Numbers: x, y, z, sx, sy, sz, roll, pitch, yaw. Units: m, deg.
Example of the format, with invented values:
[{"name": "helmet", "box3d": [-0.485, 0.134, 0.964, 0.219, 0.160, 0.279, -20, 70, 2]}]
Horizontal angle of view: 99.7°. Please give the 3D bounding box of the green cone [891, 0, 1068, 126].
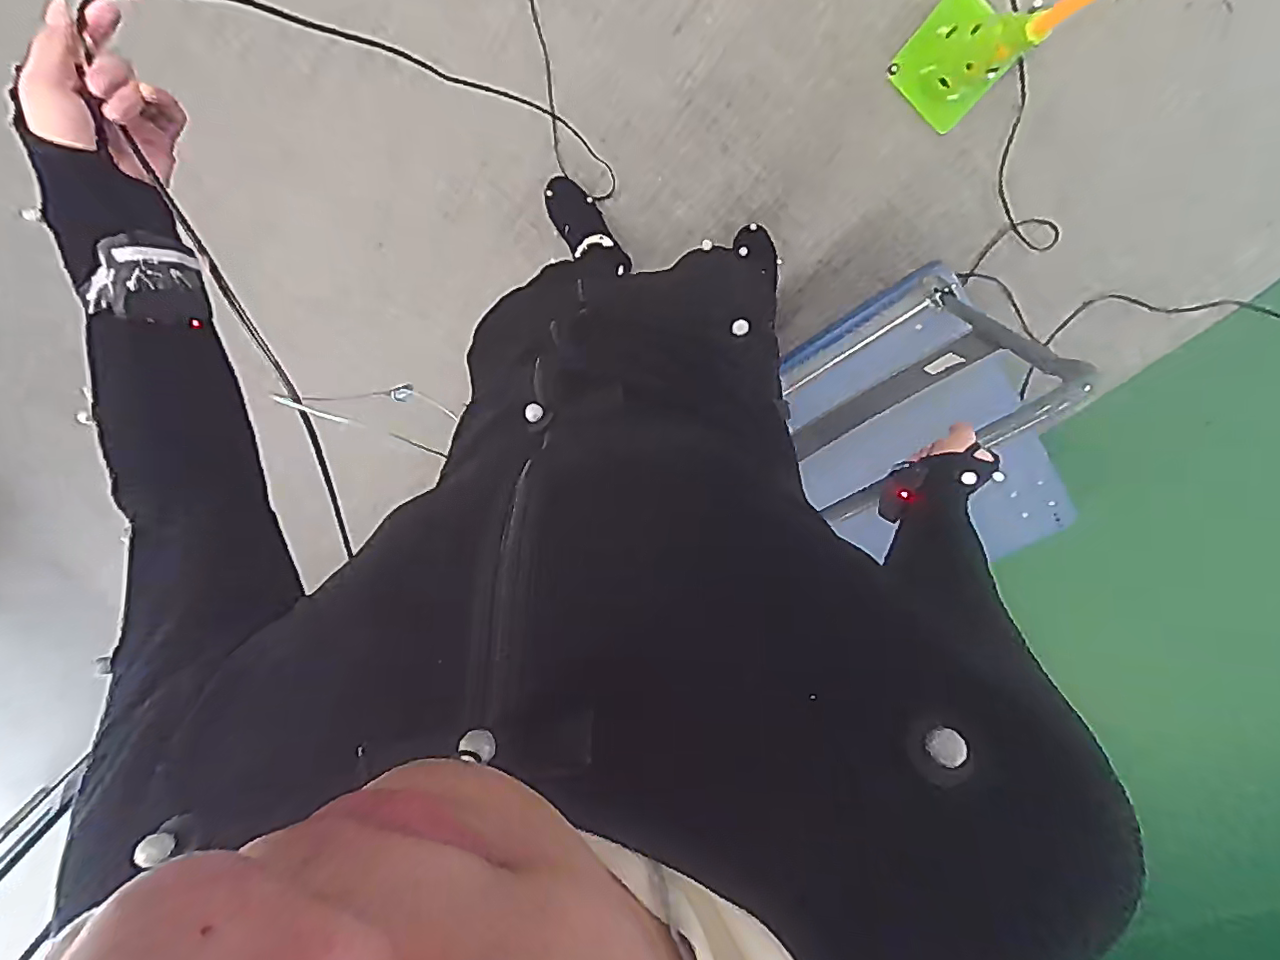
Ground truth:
[{"name": "green cone", "box3d": [0.647, -0.805, 0.984, 0.200, 0.368, 0.202, 35, 117, -15]}]
